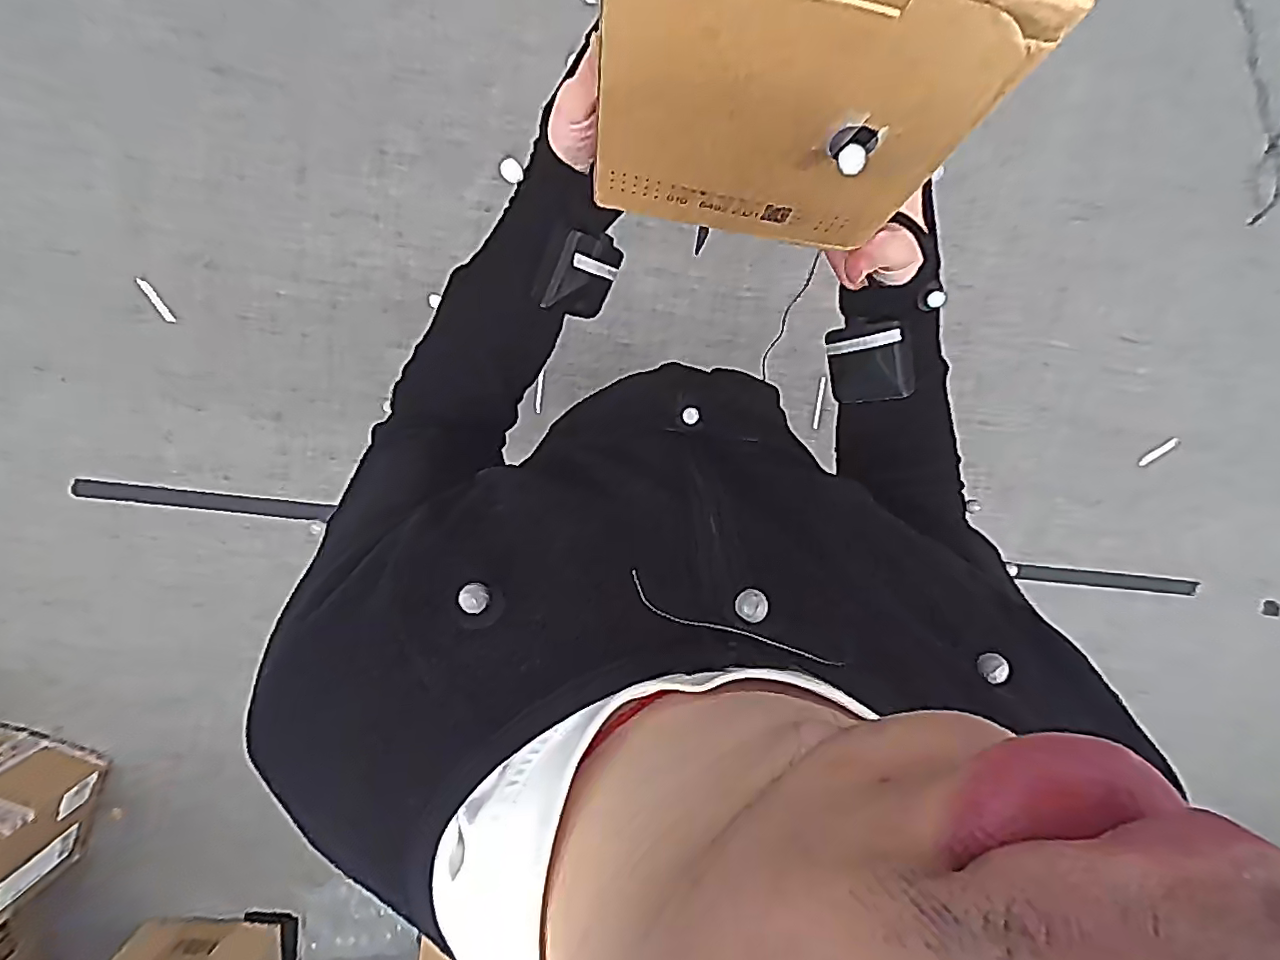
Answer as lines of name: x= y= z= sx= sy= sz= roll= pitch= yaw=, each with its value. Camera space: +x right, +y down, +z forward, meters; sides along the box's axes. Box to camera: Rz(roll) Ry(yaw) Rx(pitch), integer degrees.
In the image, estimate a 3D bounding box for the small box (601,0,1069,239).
small box: x=0.074 y=-0.251 z=0.267 sx=0.168 sy=0.176 sz=0.179 roll=8 pitch=83 yaw=-7
